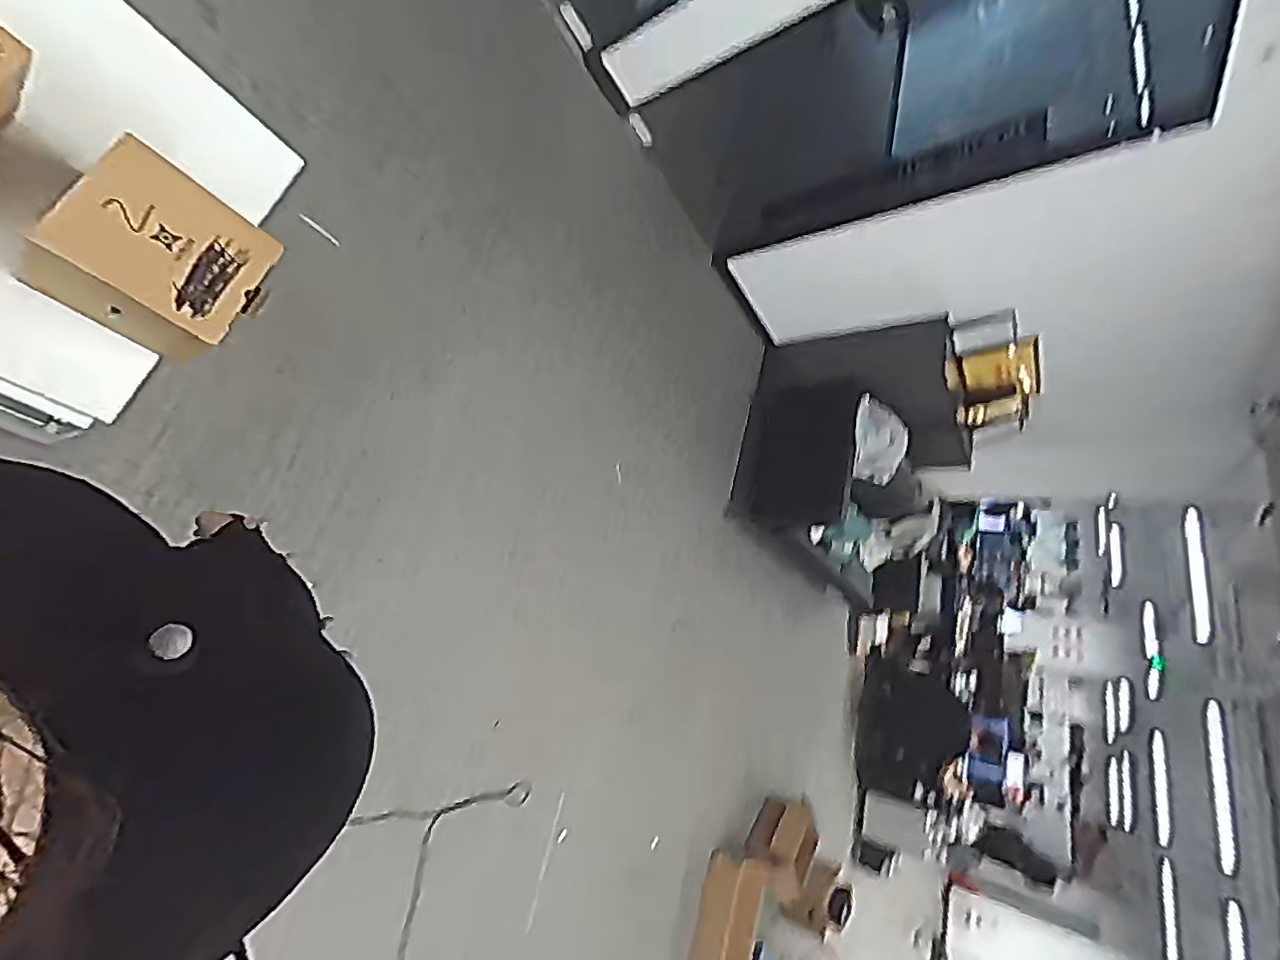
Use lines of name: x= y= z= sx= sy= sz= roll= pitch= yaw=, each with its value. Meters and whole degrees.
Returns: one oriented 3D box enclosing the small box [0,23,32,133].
small box: x=-0.738 y=-0.396 z=0.497 sx=0.179 sy=0.176 sz=0.168 roll=40 pitch=59 yaw=-47
